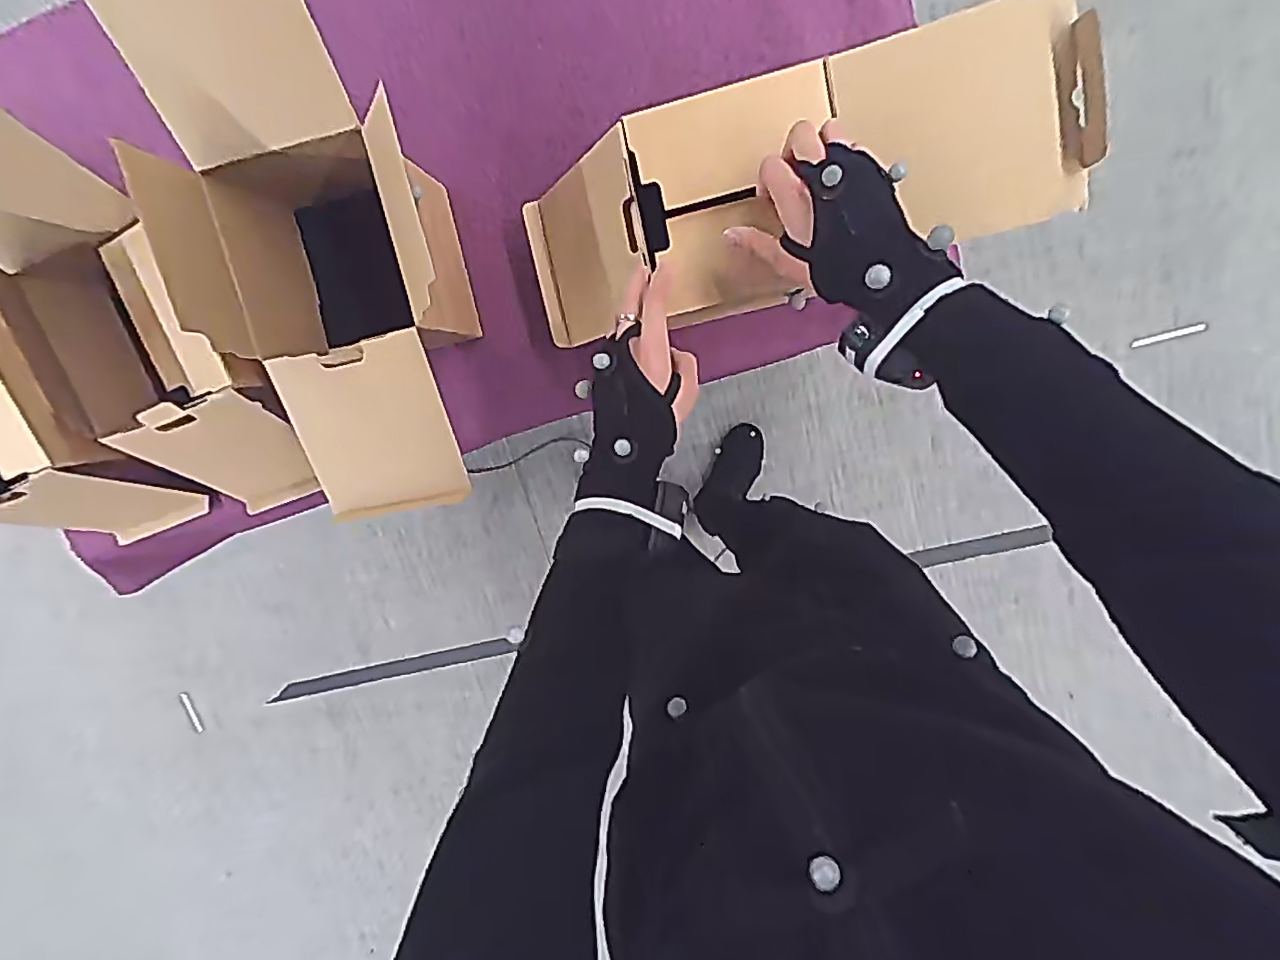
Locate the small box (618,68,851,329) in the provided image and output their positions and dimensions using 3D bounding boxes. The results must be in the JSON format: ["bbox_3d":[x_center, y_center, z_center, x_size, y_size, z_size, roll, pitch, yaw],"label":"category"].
[{"bbox_3d":[0.086,-0.252,0.532,0.179,0.176,0.168,-11,100,7],"label":"small box"}]
